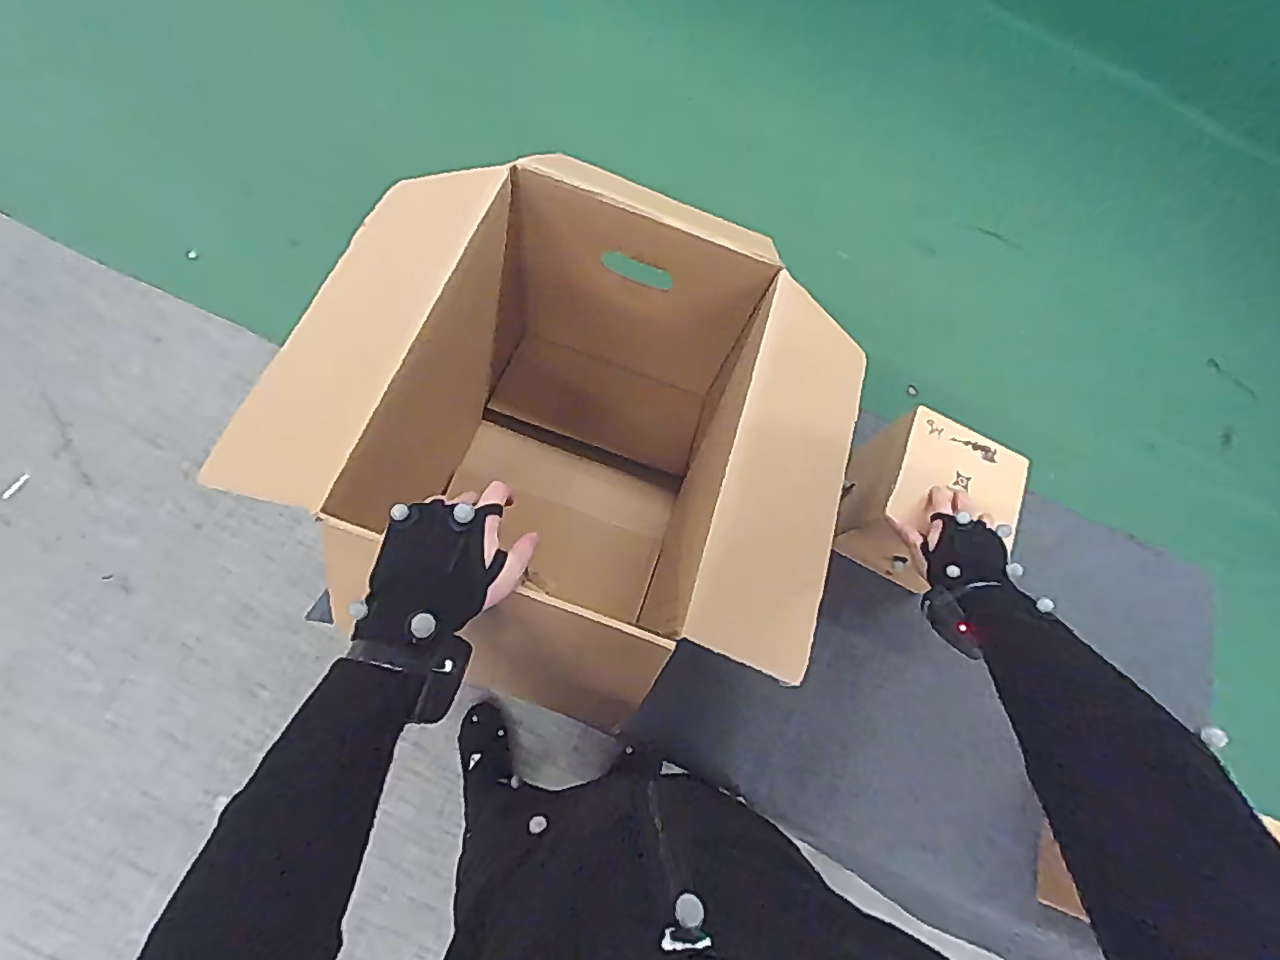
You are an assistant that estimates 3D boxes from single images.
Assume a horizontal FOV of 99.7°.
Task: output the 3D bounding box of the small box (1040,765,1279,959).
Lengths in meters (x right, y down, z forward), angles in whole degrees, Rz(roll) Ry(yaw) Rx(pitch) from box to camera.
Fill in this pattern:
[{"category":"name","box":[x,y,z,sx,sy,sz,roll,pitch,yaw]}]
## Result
[{"category":"small box","box":[0.622,0.470,0.646,0.168,0.176,0.179,23,68,0]}]
